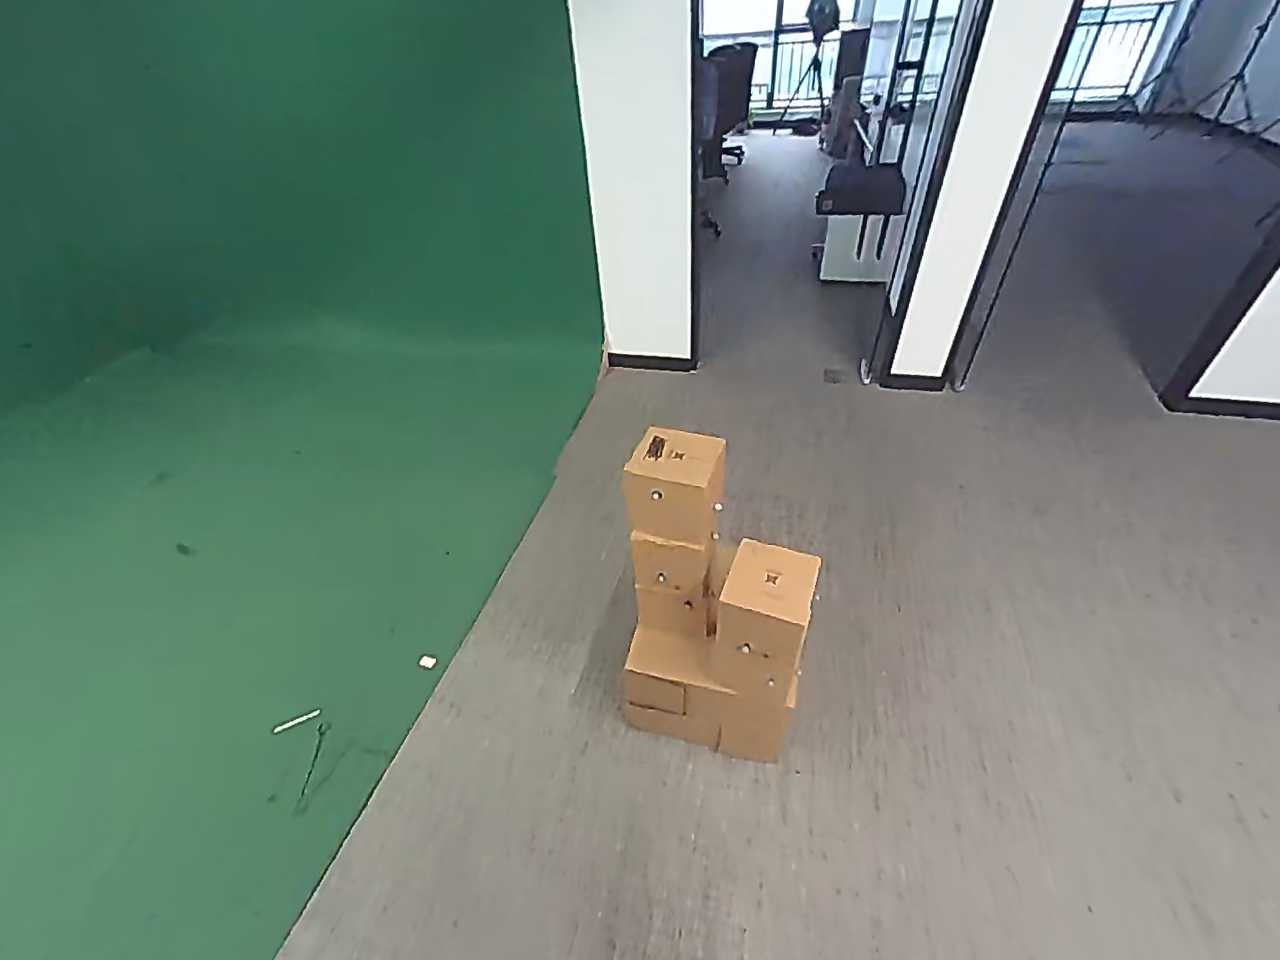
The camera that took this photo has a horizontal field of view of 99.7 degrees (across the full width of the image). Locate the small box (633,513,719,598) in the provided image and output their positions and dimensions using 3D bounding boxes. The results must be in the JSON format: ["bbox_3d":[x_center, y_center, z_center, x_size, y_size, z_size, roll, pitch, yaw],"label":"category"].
[{"bbox_3d":[0.088,0.144,1.263,0.168,0.176,0.179,8,42,14],"label":"small box"}]

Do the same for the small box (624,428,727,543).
[{"bbox_3d":[0.080,0.013,1.164,0.179,0.176,0.168,12,43,18],"label":"small box"}]

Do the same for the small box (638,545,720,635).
[{"bbox_3d":[0.102,0.269,1.368,0.179,0.176,0.168,6,40,13],"label":"small box"}]

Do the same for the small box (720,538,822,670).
[{"bbox_3d":[0.265,0.254,1.114,0.168,0.176,0.179,13,44,20],"label":"small box"}]
